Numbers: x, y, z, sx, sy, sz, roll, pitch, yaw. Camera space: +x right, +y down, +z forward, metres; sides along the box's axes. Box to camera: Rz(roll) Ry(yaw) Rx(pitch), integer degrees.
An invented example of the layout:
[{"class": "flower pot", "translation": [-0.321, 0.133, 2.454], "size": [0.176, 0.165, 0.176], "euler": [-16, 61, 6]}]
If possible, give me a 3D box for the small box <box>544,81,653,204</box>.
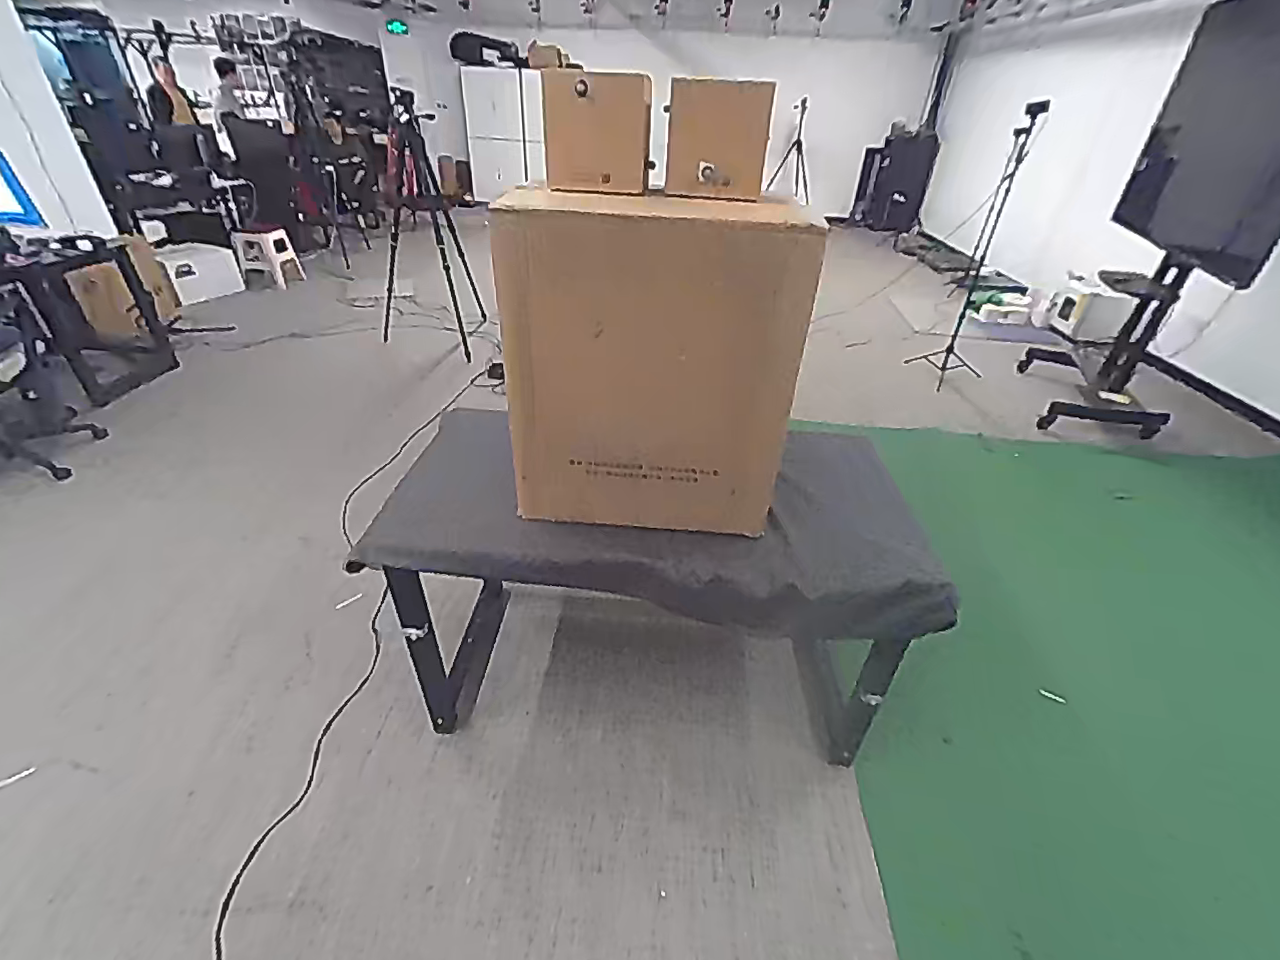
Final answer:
[{"class": "small box", "translation": [-0.067, -0.597, 0.963], "size": [0.168, 0.176, 0.179], "euler": [3, 32, 4]}]
